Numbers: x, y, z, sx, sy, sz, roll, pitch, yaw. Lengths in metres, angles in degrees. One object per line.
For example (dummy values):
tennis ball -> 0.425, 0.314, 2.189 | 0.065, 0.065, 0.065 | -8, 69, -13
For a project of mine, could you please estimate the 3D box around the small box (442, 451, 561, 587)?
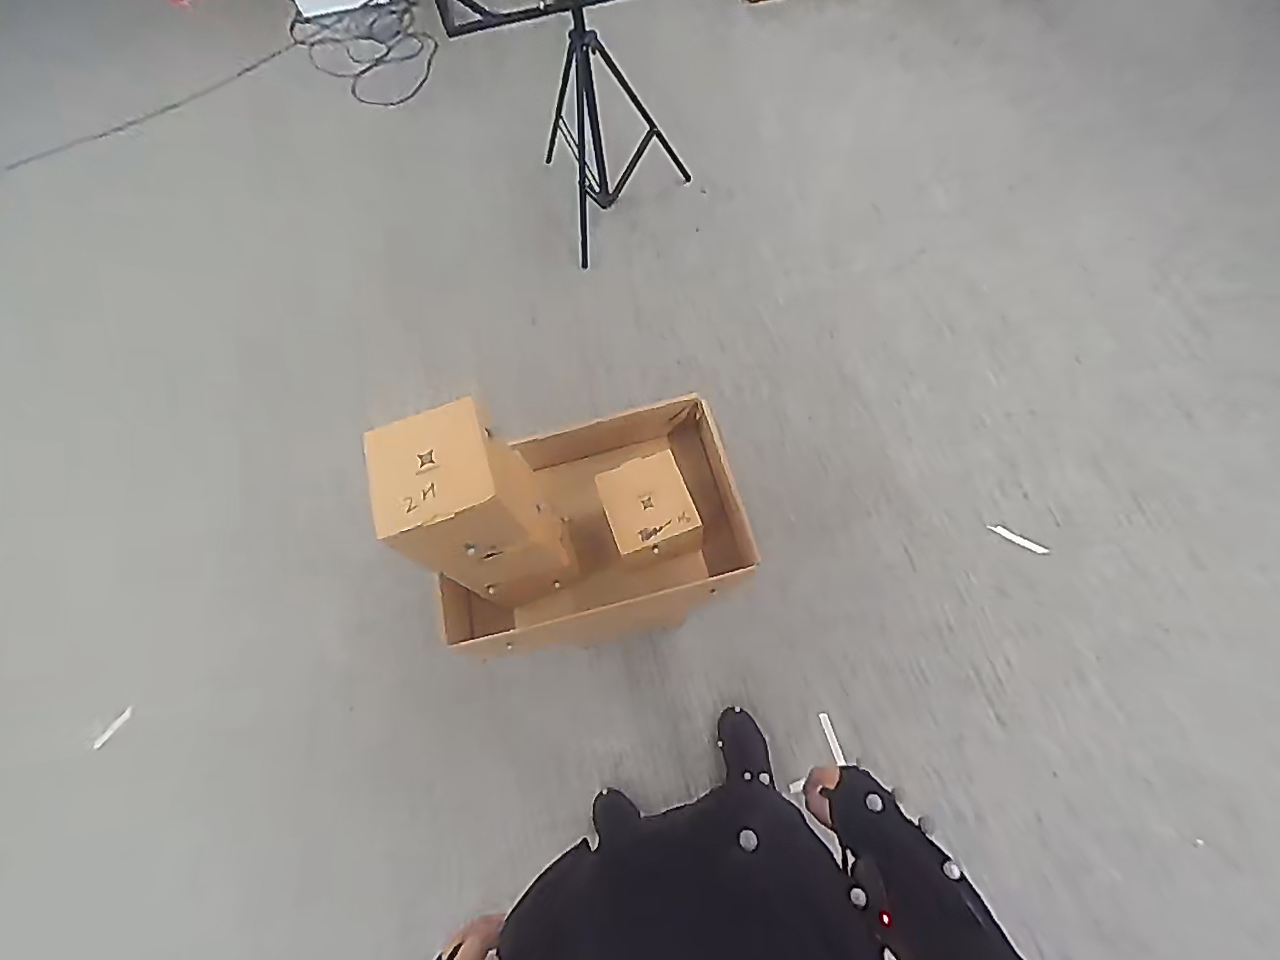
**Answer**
small box -> -0.250, 0.079, 0.959 | 0.168, 0.176, 0.179 | -18, 65, -2

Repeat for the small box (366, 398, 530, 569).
small box -> -0.280, 0.012, 0.810 | 0.168, 0.176, 0.179 | -20, 66, -2
